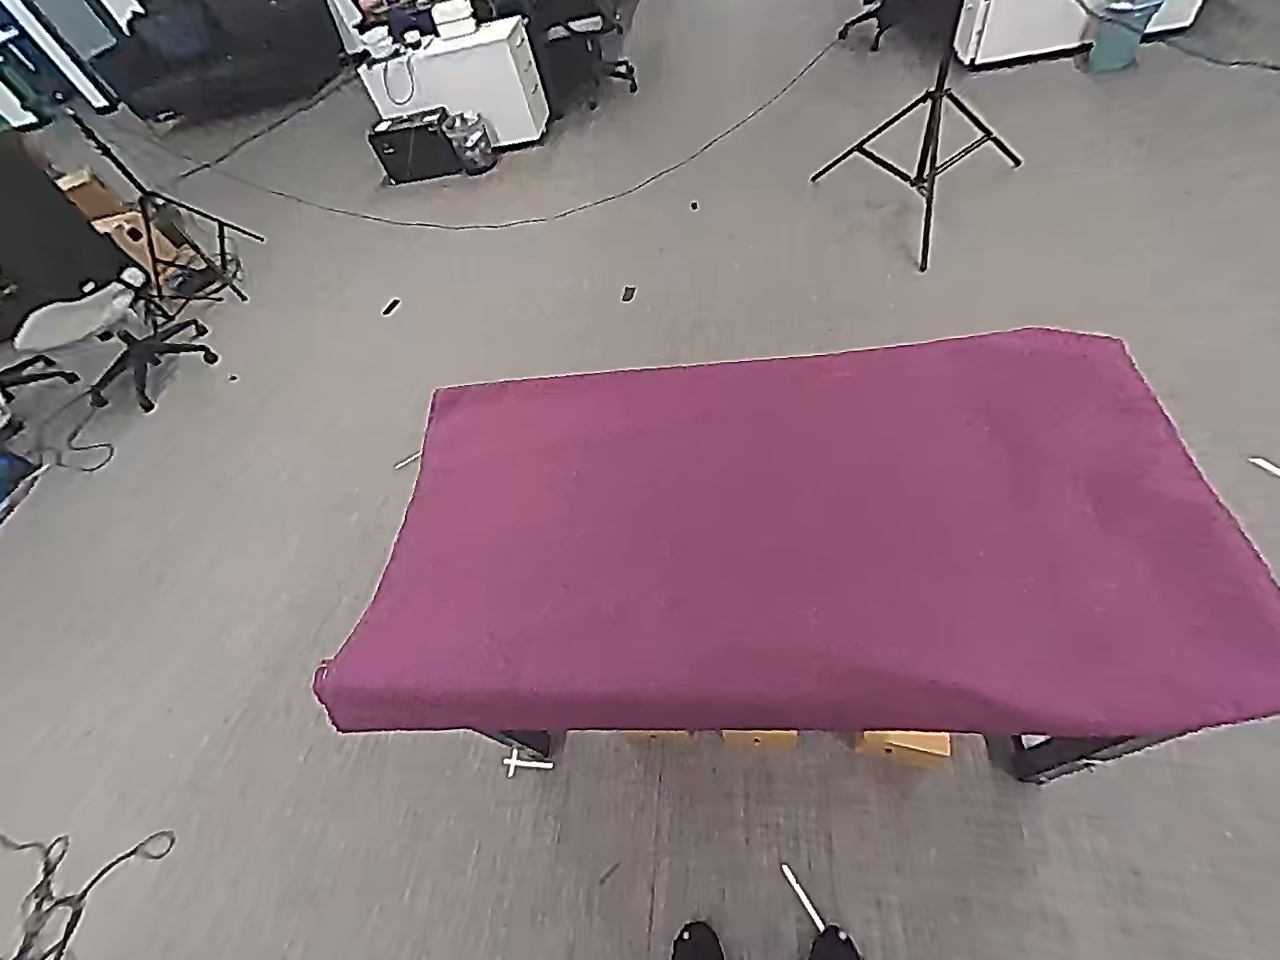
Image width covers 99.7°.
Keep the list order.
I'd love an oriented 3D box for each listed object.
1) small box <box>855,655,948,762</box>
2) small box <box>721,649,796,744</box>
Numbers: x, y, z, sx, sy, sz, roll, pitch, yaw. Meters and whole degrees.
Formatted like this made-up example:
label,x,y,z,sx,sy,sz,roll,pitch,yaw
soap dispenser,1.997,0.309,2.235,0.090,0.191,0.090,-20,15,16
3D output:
label,x,y,z,sx,sy,sz,roll,pitch,yaw
small box,0.588,0.522,1.229,0.168,0.176,0.179,5,56,17
small box,0.287,0.524,1.299,0.168,0.176,0.179,0,54,13
